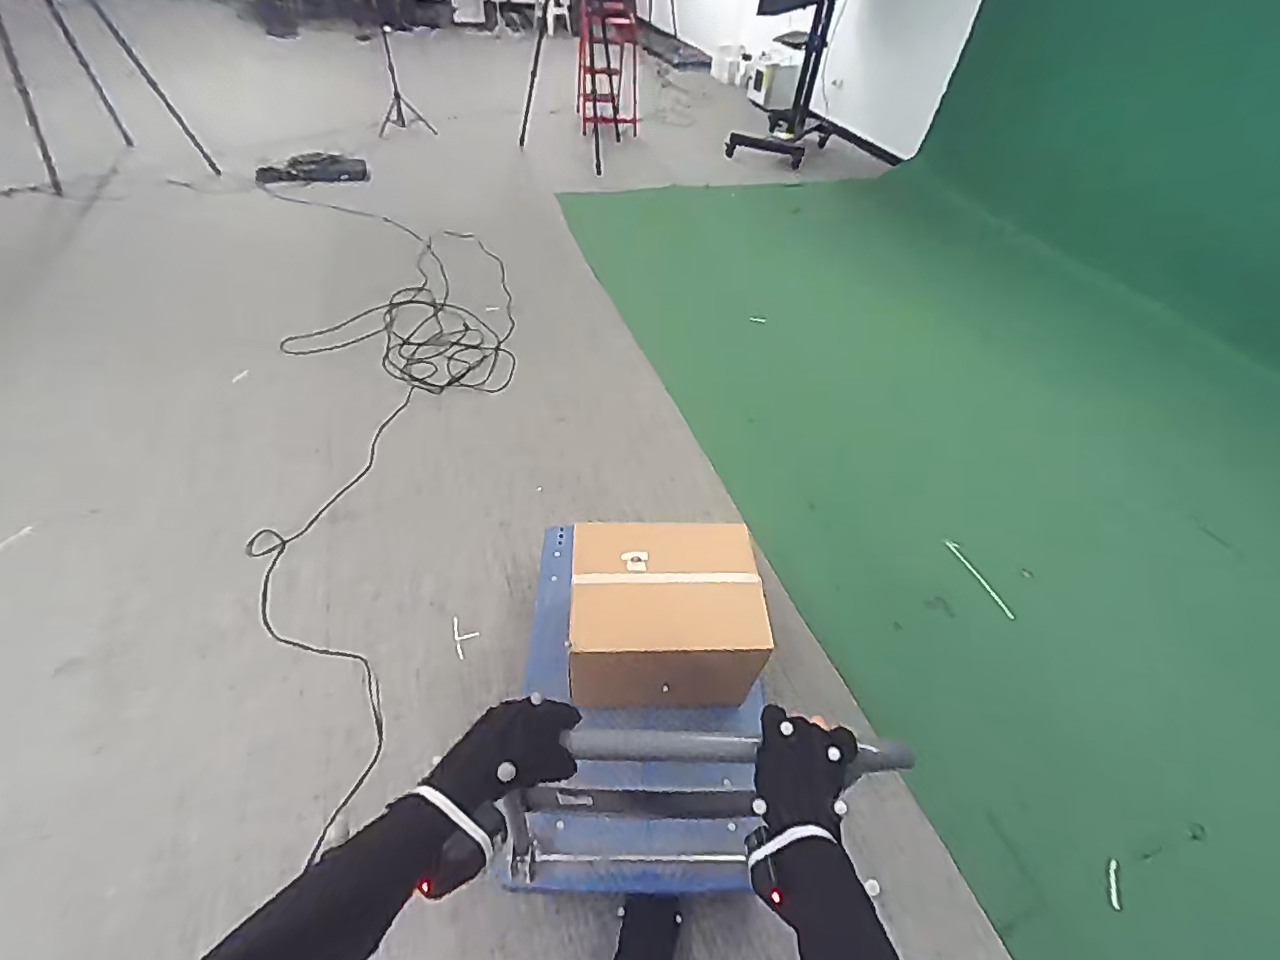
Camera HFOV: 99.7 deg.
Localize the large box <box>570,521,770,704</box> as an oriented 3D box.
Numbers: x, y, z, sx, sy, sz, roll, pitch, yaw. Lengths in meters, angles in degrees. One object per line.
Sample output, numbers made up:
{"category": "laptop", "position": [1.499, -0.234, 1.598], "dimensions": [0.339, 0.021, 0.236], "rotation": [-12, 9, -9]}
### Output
{"category": "large box", "position": [0.044, 0.312, 1.265], "dimensions": [0.408, 0.320, 0.320], "rotation": [0, 48, -5]}
